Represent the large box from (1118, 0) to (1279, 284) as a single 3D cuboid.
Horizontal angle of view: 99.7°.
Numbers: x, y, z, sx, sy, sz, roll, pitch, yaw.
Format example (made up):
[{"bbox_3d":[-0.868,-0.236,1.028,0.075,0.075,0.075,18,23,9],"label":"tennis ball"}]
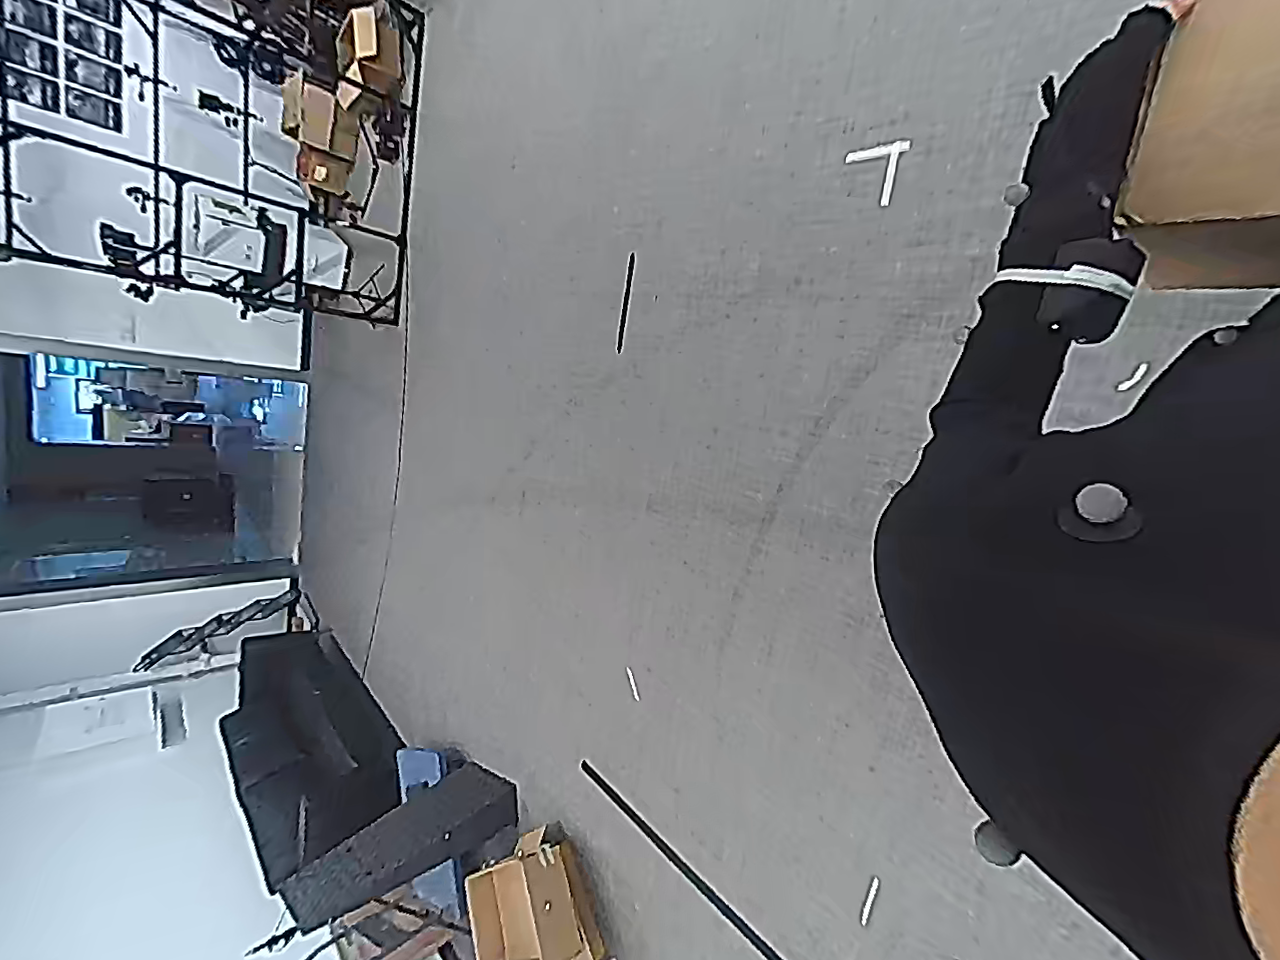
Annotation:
[{"bbox_3d":[0.618,-0.318,0.347,0.408,0.320,0.320,18,109,44],"label":"large box"}]
